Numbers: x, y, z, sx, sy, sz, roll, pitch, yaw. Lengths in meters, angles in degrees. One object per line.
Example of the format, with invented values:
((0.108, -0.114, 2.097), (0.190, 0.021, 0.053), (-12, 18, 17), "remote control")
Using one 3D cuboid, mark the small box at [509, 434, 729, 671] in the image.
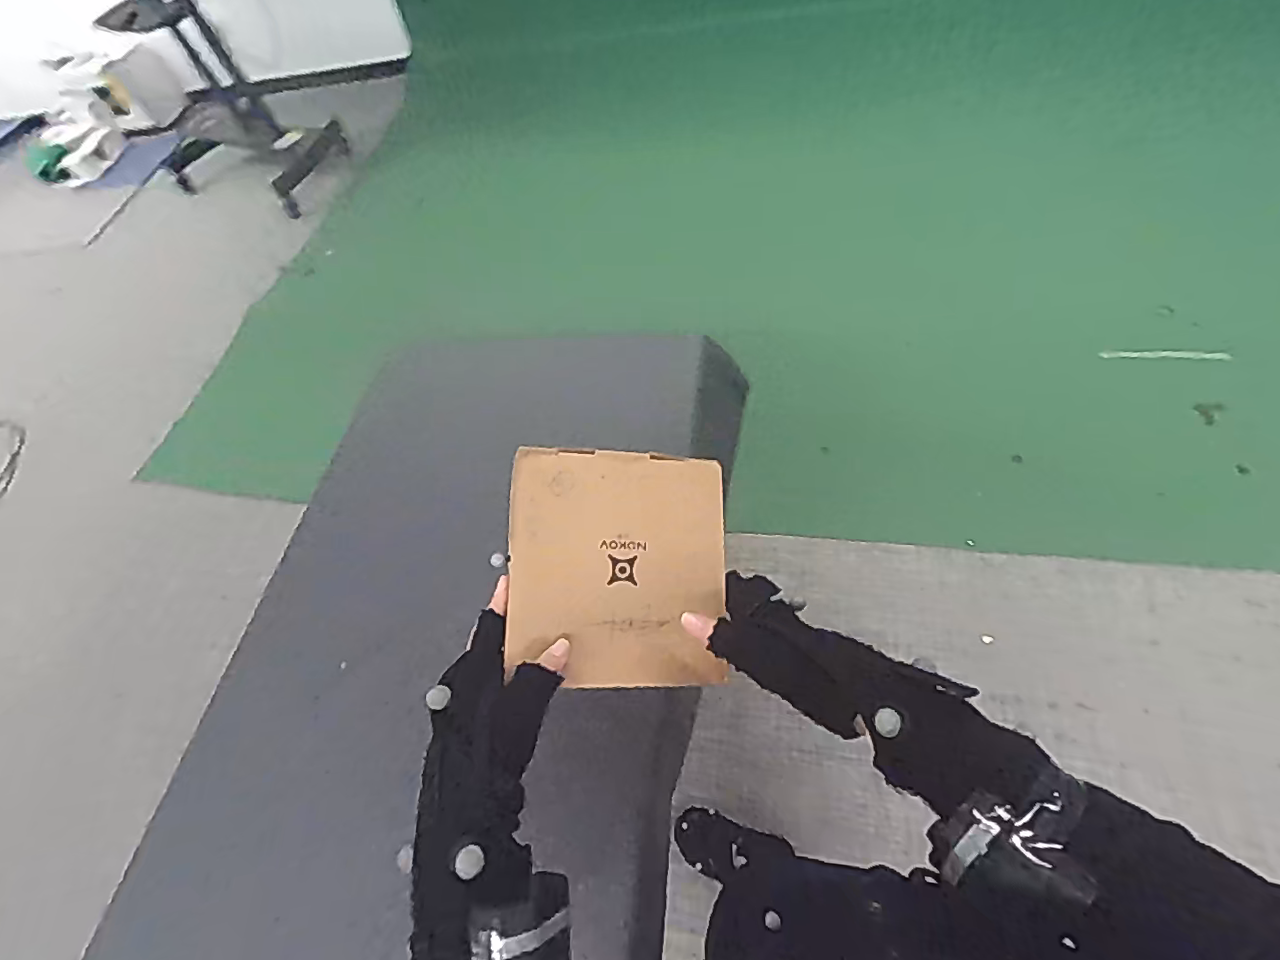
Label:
((-0.029, 0.069, 0.489), (0.168, 0.176, 0.179), (3, 79, -13), "small box")
